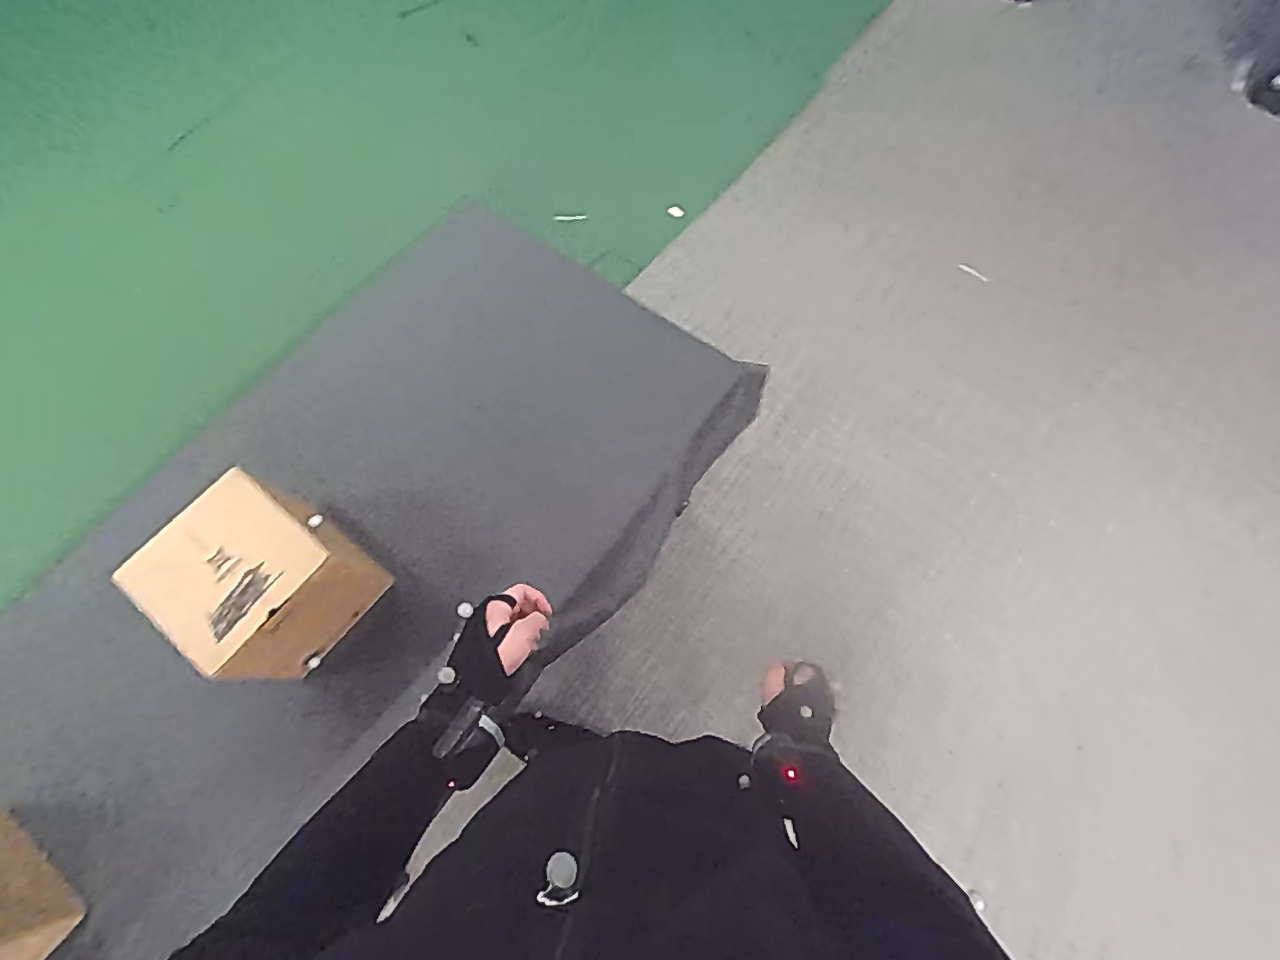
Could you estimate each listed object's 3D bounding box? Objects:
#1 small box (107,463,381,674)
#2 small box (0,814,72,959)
[{"bbox_3d":[-0.462,0.114,0.664,0.179,0.176,0.168,37,74,12],"label":"small box"},{"bbox_3d":[-0.751,0.467,0.535,0.179,0.176,0.168,35,72,10],"label":"small box"}]
